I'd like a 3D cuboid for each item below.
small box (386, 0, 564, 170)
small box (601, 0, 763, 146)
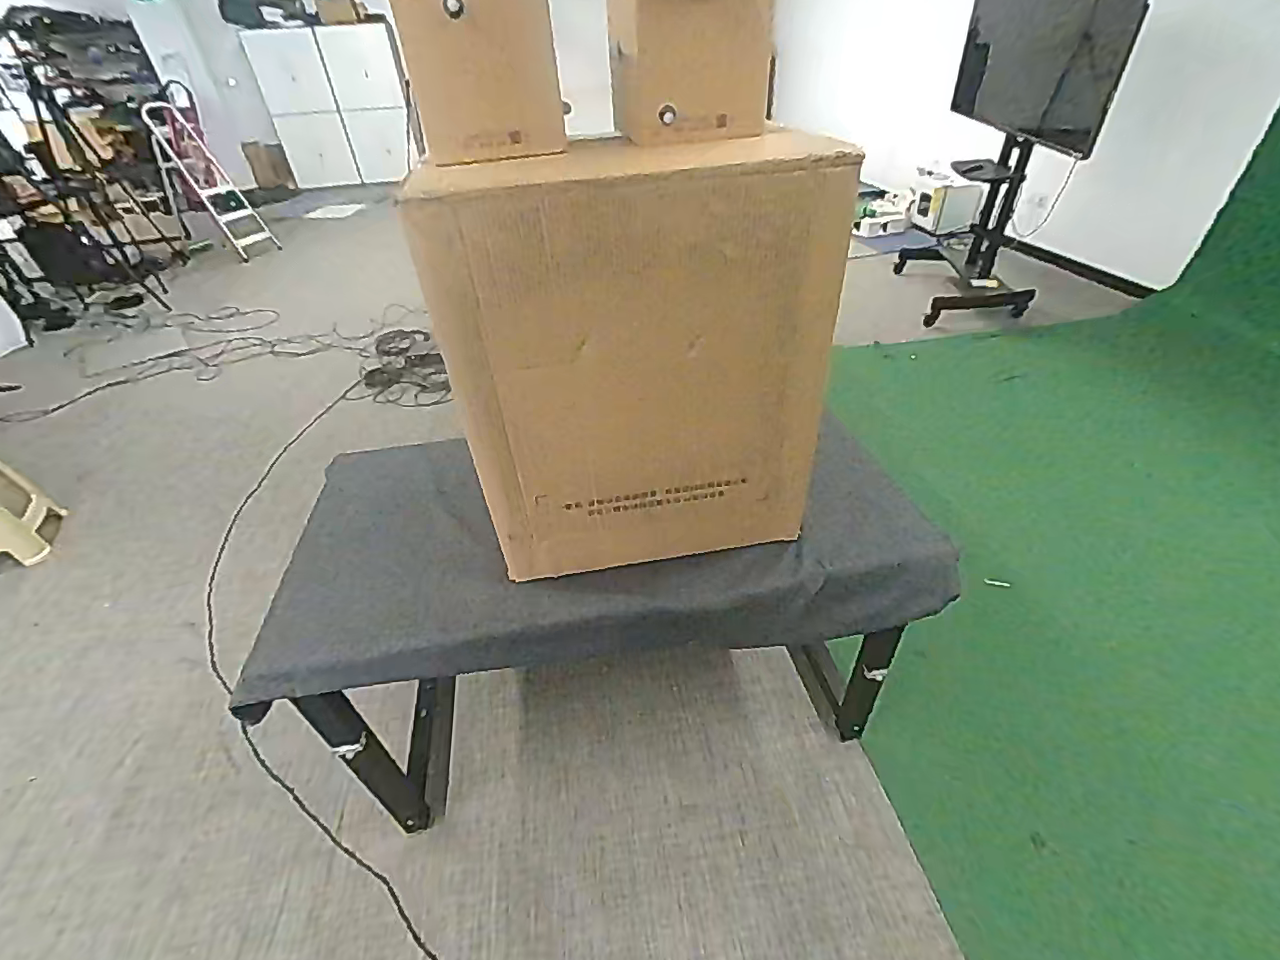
[{"bbox_3d":[-0.193,-0.500,0.677,0.168,0.176,0.179,-11,39,-5],"label":"small box"},{"bbox_3d":[0.052,-0.543,0.699,0.168,0.176,0.179,-12,40,-8],"label":"small box"}]
